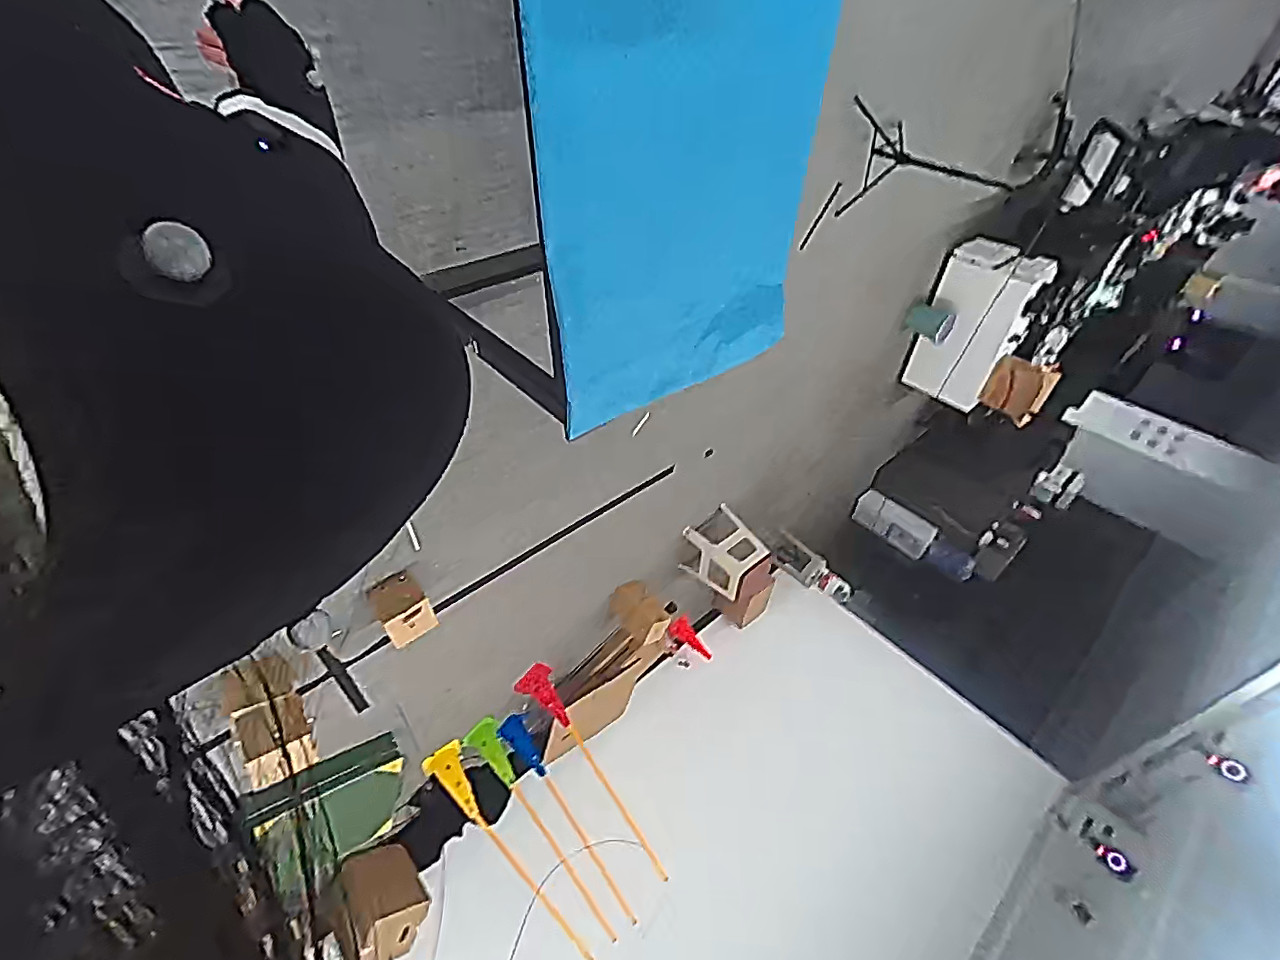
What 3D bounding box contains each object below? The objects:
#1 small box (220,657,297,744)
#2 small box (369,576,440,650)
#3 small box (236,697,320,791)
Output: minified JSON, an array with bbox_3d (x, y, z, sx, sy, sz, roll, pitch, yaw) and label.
[{"bbox_3d":[-1.246,0.715,1.775,0.179,0.176,0.168,-15,133,-40],"label":"small box"},{"bbox_3d":[-0.868,0.479,1.987,0.168,0.176,0.179,-31,143,-28],"label":"small box"},{"bbox_3d":[-1.139,0.822,1.704,0.179,0.176,0.168,-17,134,-39],"label":"small box"}]
